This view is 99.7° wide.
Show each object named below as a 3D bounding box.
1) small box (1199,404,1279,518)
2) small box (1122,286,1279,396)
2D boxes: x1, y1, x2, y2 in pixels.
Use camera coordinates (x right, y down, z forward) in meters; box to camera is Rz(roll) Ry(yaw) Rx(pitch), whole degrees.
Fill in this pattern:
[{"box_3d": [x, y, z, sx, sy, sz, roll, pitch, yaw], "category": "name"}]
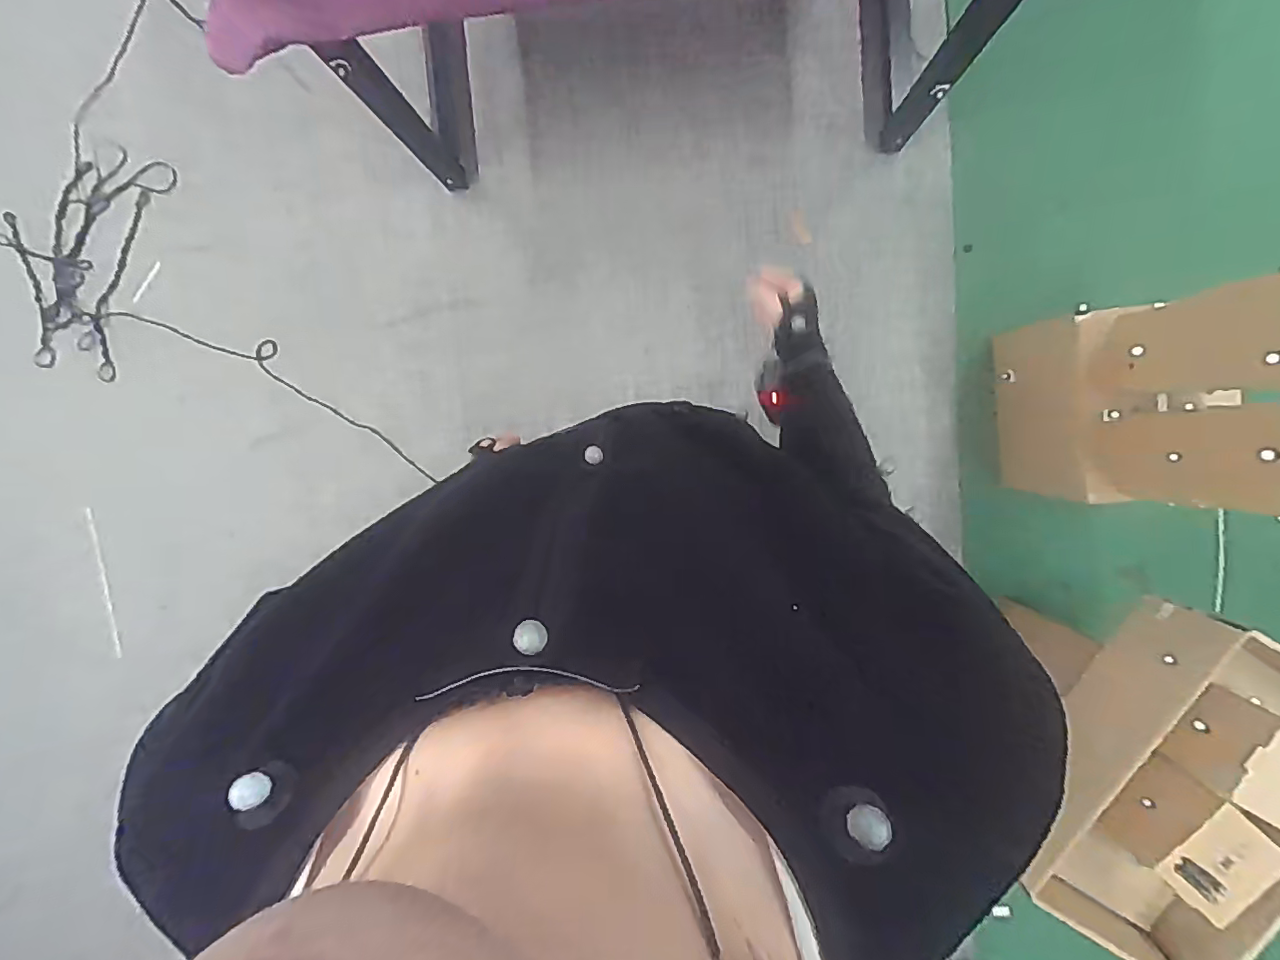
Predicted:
[{"box_3d": [1.067, -0.031, 0.870, 0.168, 0.176, 0.179, 1, 94, 5], "category": "small box"}, {"box_3d": [1.063, -0.254, 1.012, 0.179, 0.176, 0.168, -9, 95, 5], "category": "small box"}]
